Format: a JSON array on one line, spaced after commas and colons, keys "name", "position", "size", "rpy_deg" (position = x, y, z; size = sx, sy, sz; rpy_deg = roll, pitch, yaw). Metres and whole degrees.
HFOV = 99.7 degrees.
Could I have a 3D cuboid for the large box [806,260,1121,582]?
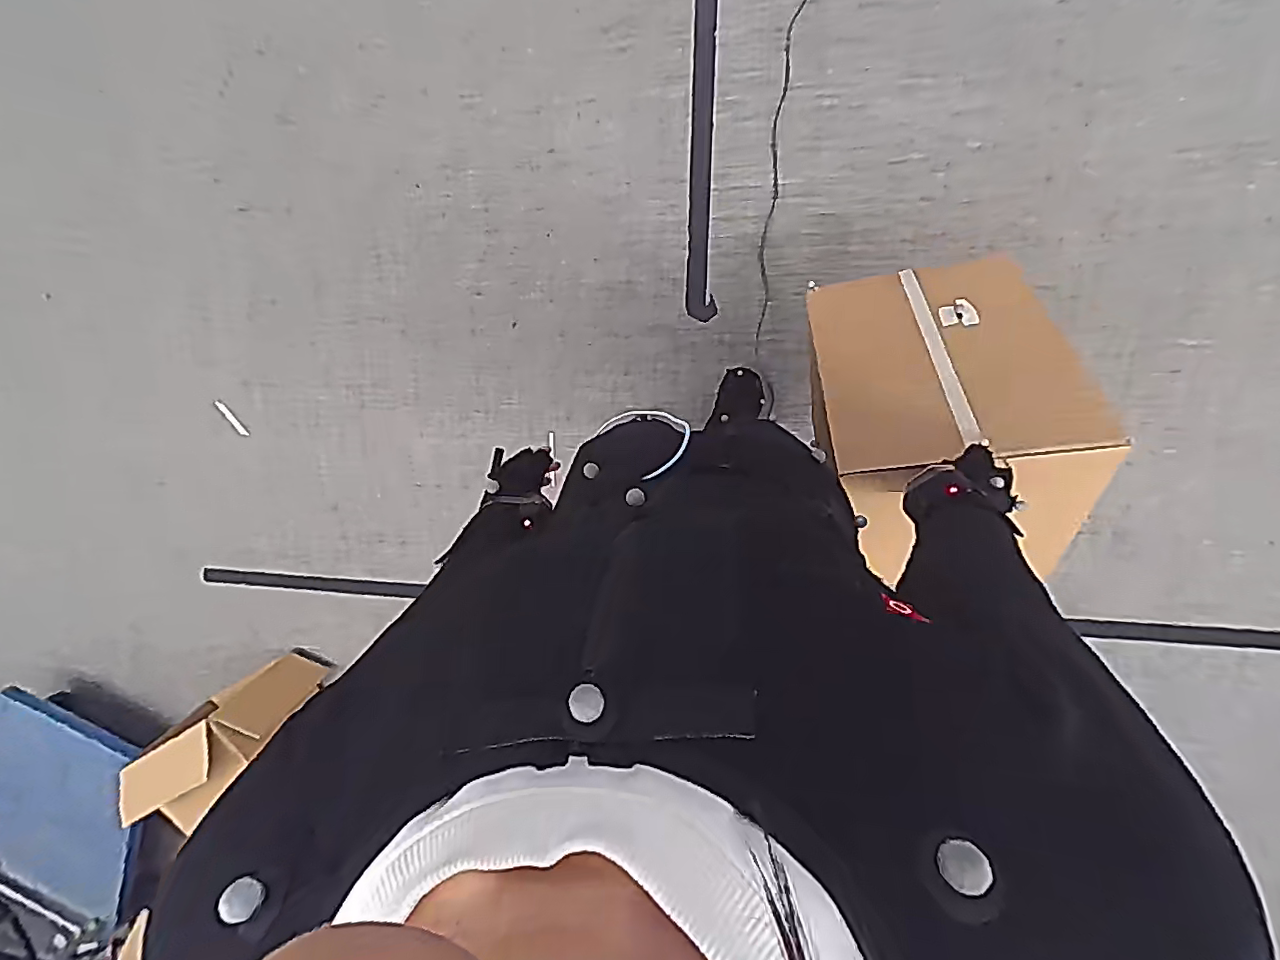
[{"name": "large box", "position": [0.462, -0.088, 0.888], "size": [0.320, 0.408, 0.320], "rpy_deg": [-6, 141, 14]}]
